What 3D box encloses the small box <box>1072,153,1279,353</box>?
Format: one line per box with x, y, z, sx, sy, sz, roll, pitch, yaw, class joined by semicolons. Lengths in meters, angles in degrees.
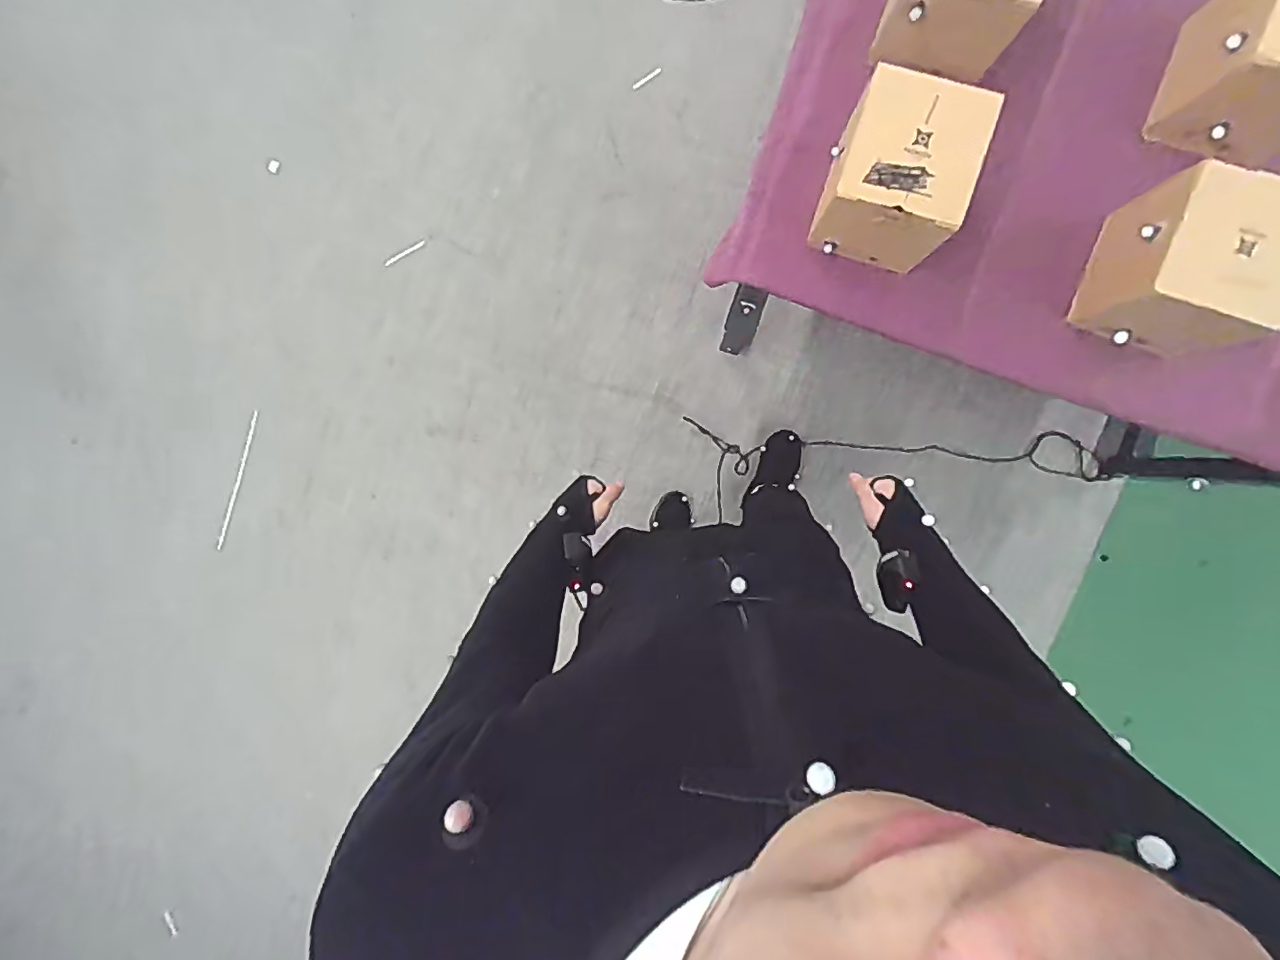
0.752;-0.296;0.742;0.168;0.176;0.179;21;94;4;small box

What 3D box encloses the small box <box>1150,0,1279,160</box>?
0.853;-0.575;0.723;0.168;0.176;0.179;18;95;3;small box

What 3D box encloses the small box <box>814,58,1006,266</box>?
0.361;-0.430;0.762;0.168;0.176;0.179;18;92;3;small box
